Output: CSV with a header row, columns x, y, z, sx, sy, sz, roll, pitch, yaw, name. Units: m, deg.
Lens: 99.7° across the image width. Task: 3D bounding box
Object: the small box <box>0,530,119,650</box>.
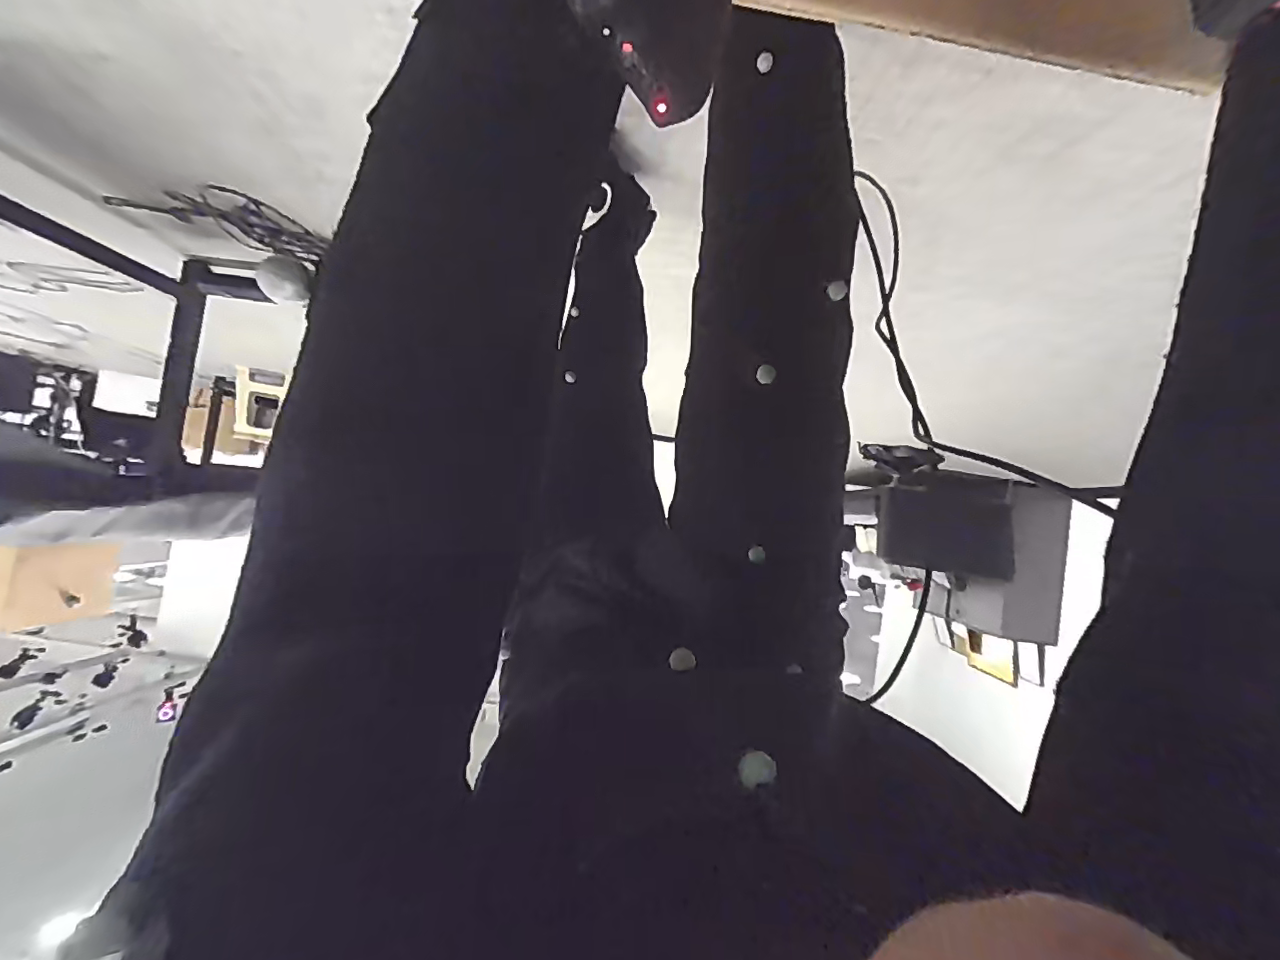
x,y,z,sx,sy,sz,roll,pitch,yaw,name
-1.060,0.178,0.925,0.168,0.176,0.179,7,177,3,small box
